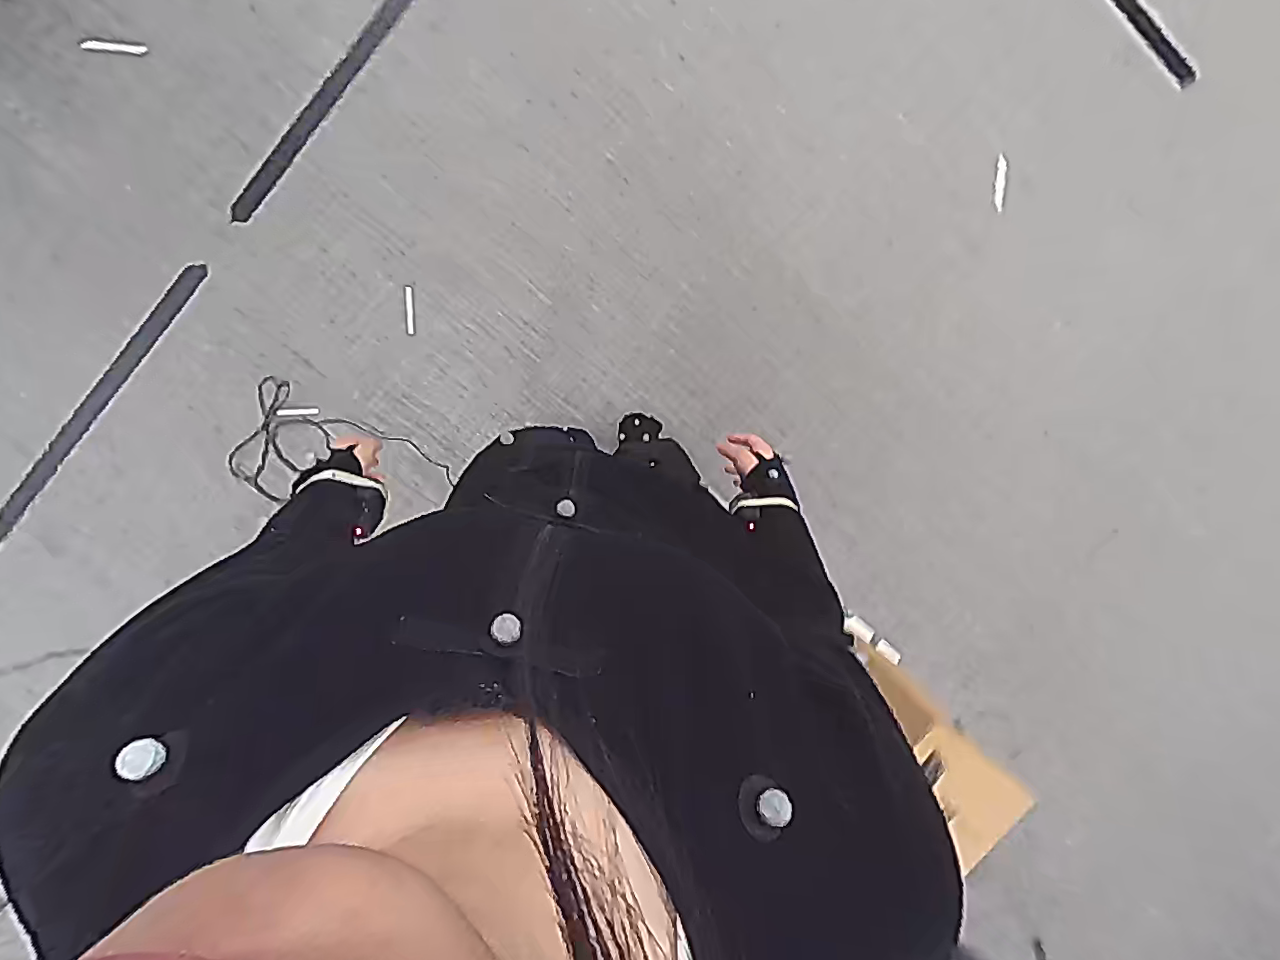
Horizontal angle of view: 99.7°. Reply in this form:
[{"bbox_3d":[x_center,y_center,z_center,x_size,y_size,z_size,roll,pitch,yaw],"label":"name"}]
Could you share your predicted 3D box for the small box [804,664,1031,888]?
[{"bbox_3d":[0.355,0.379,0.730,0.179,0.176,0.168,39,95,-8],"label":"small box"}]
